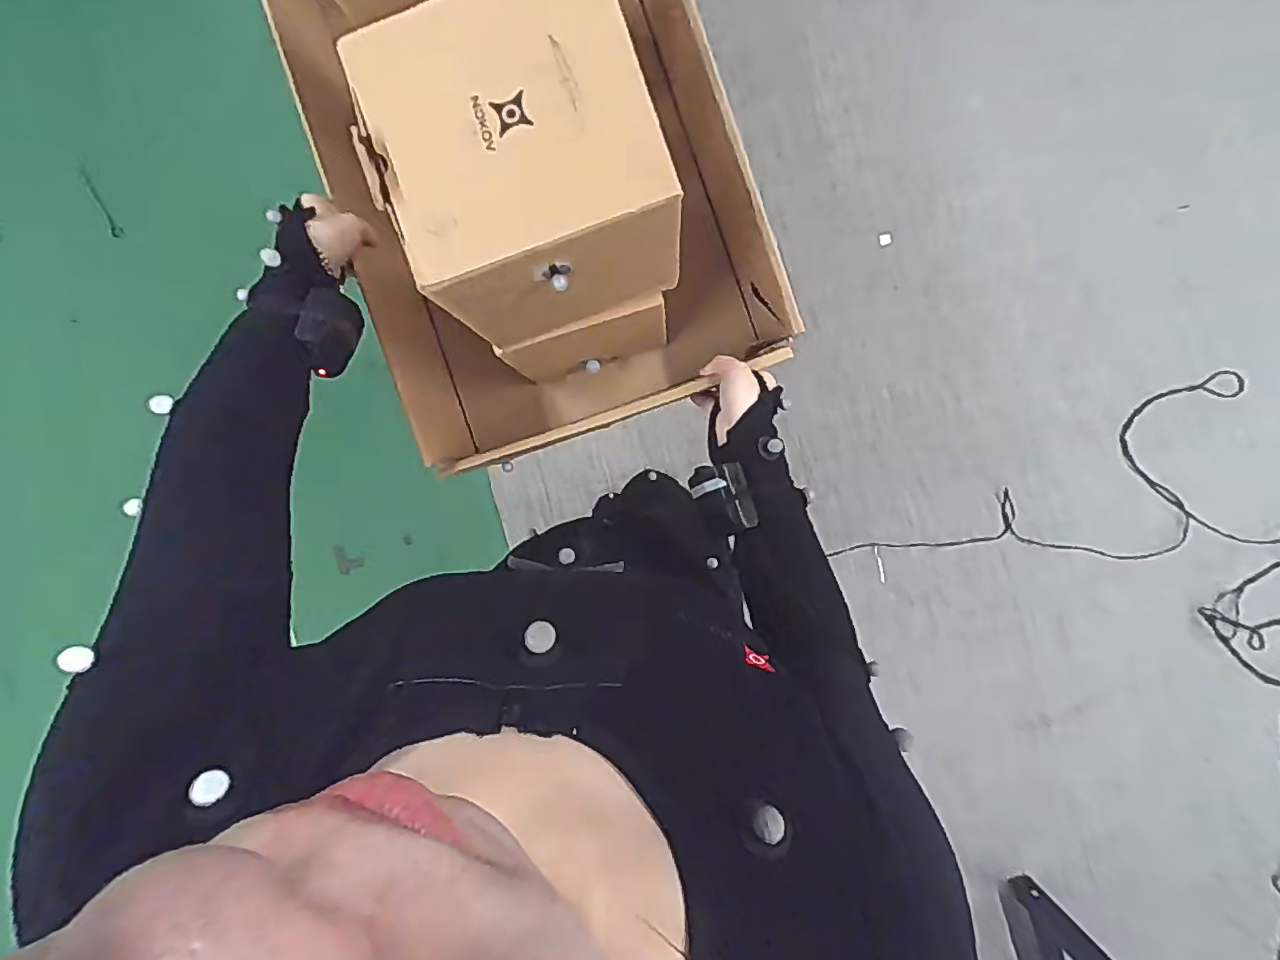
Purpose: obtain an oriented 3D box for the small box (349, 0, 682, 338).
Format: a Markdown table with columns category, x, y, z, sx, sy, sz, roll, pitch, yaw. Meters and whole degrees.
| category | x | y | z | sx | sy | sz | roll | pitch | yaw |
| --- | --- | --- | --- | --- | --- | --- | --- | --- | --- |
| small box | -0.075 | -0.227 | 0.416 | 0.179 | 0.176 | 0.168 | -19 | 90 | 2 |
